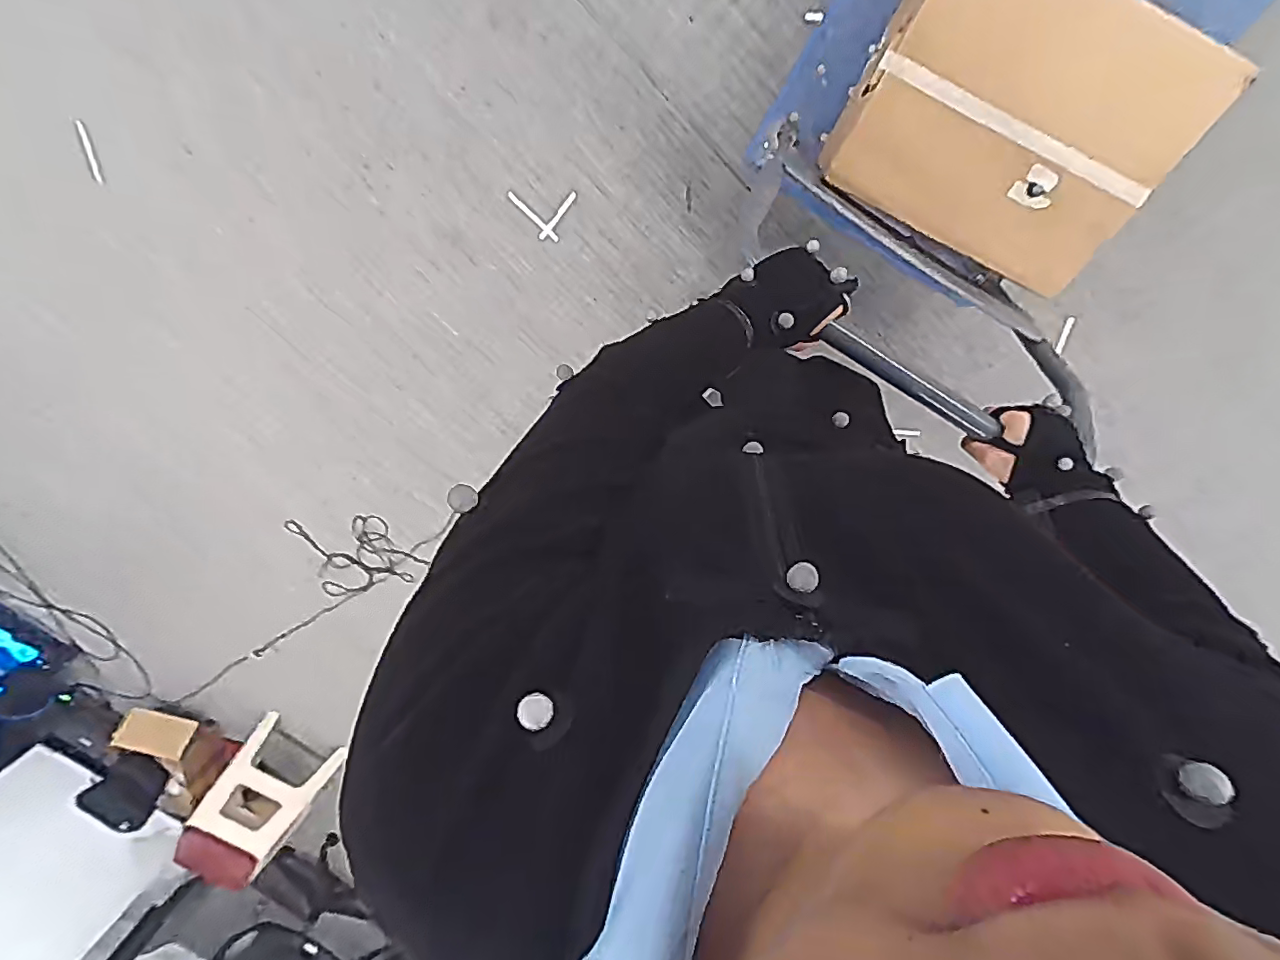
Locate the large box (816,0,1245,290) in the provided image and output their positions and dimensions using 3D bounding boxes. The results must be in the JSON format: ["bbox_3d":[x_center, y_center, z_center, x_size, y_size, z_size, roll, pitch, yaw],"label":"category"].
[{"bbox_3d":[0.546,-0.569,0.866,0.408,0.320,0.320,25,127,-4],"label":"large box"}]
